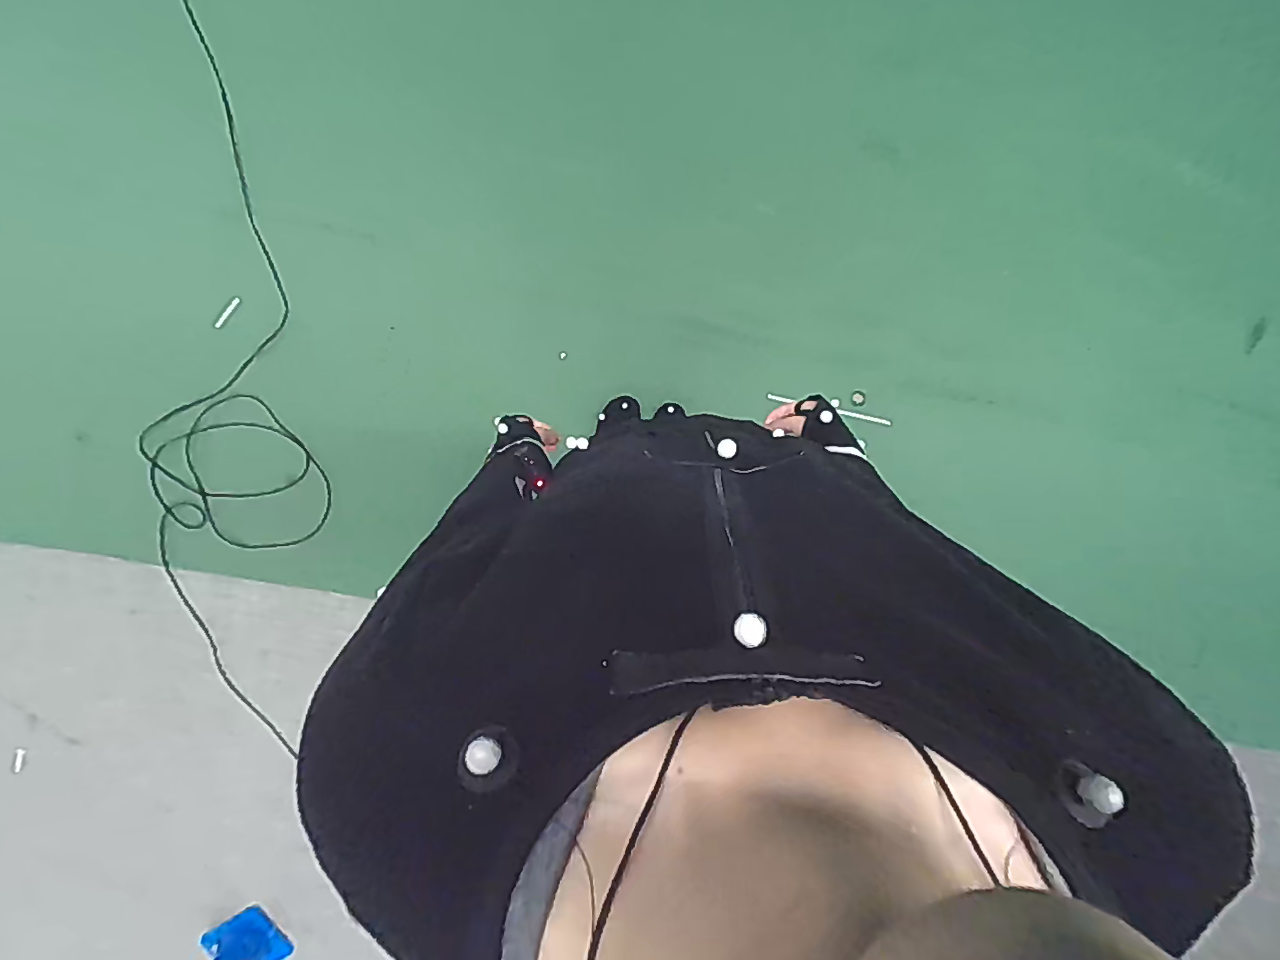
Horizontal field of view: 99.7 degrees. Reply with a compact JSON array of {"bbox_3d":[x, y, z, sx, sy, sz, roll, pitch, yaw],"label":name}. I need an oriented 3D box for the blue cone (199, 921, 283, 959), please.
[{"bbox_3d":[-1.153,1.422,1.419,0.193,0.380,0.192,-32,101,2],"label":"blue cone"}]
